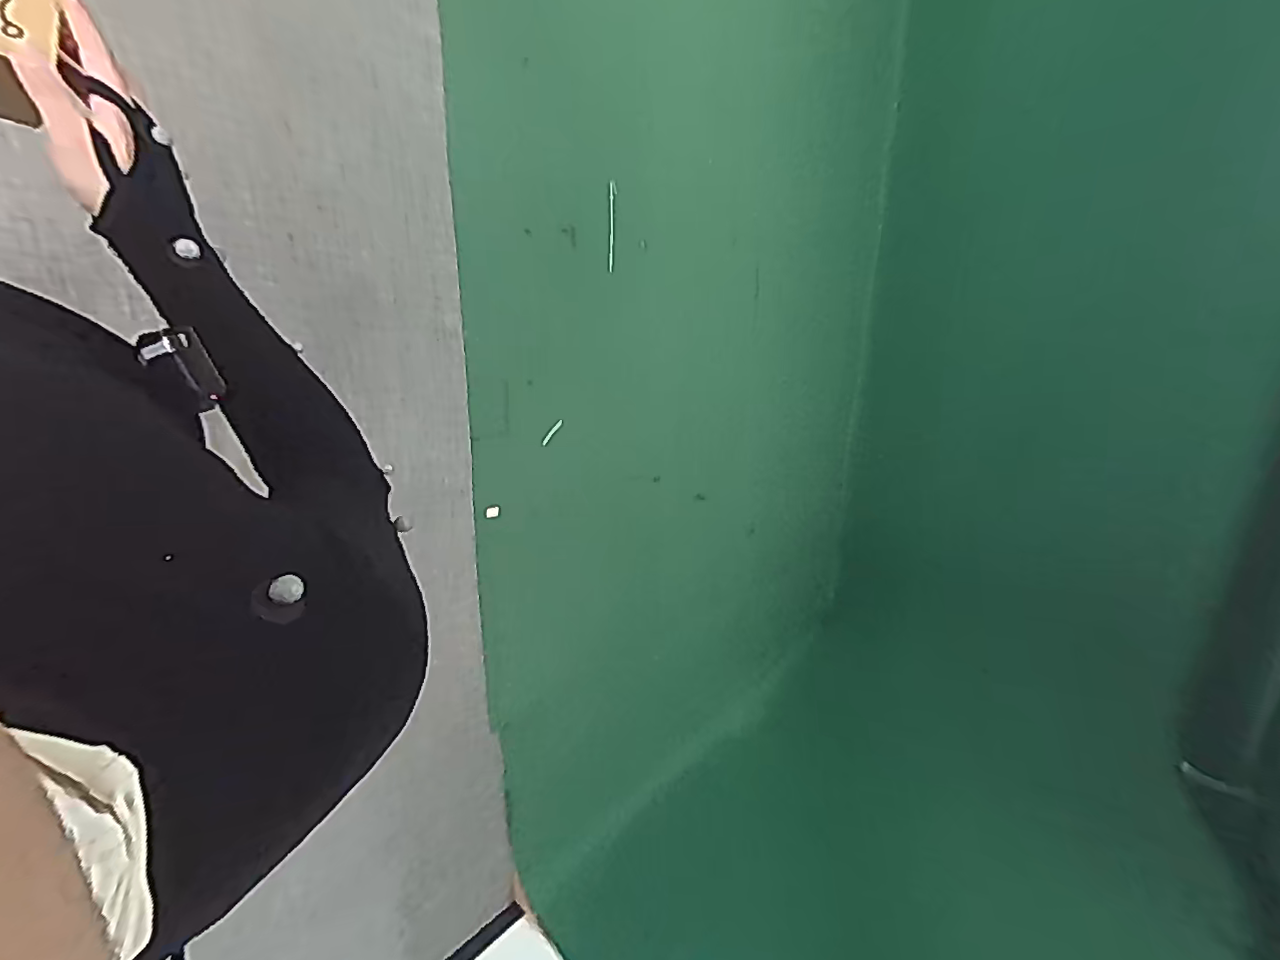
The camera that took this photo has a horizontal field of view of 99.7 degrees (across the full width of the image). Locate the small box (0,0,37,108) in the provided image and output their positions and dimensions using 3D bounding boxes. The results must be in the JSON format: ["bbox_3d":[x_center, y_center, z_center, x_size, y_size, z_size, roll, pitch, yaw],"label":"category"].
[{"bbox_3d":[-0.514,-0.389,0.348,0.168,0.176,0.179,1,99,-50],"label":"small box"}]
